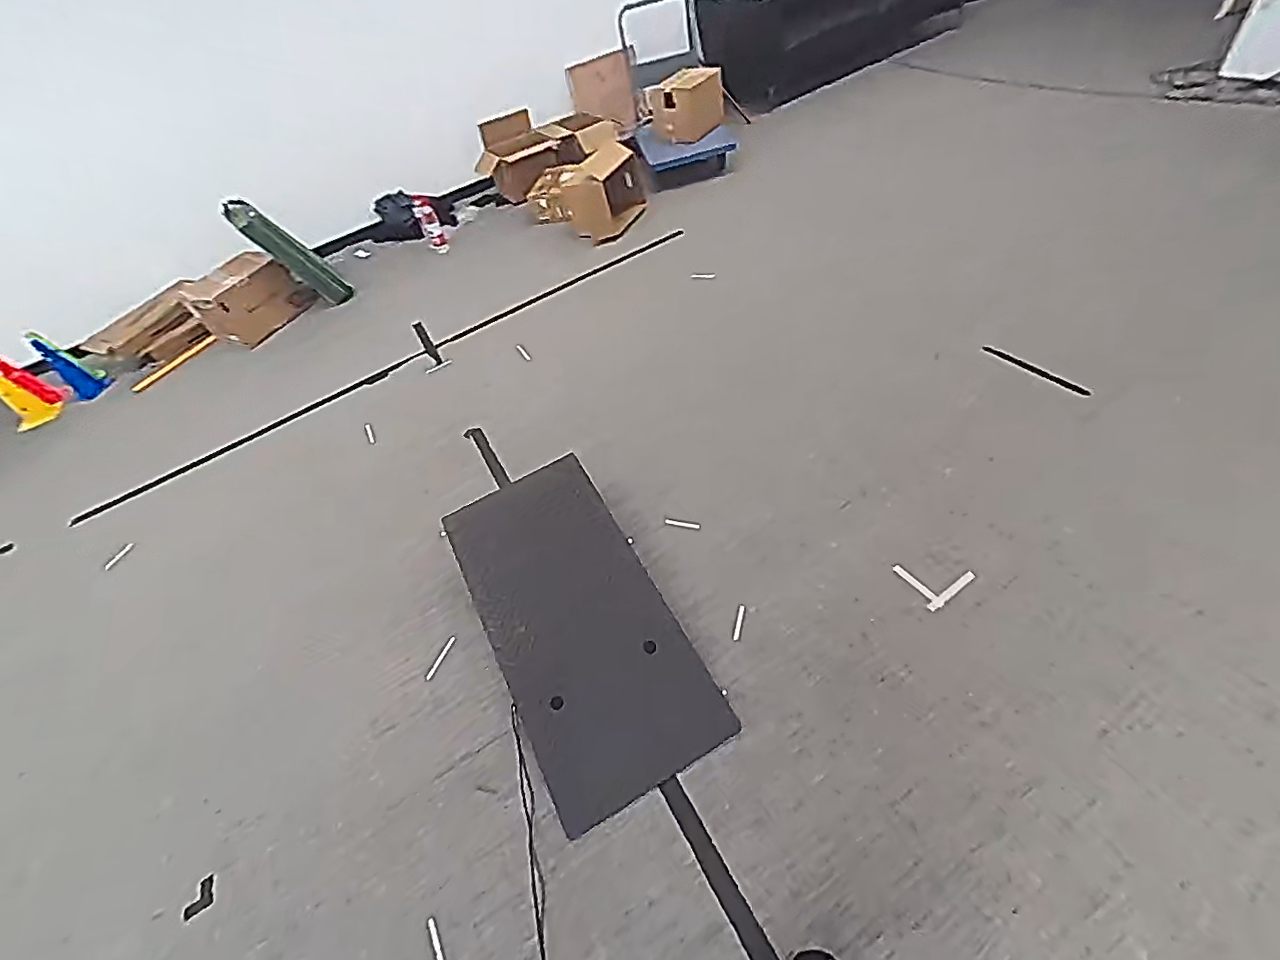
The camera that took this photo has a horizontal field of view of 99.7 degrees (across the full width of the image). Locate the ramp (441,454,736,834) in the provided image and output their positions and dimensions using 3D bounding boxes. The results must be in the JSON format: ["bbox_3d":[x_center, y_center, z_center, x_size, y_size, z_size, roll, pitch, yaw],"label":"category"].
[{"bbox_3d":[-0.198,0.376,1.568,0.509,0.206,0.991,-29,49,-13],"label":"ramp"}]
